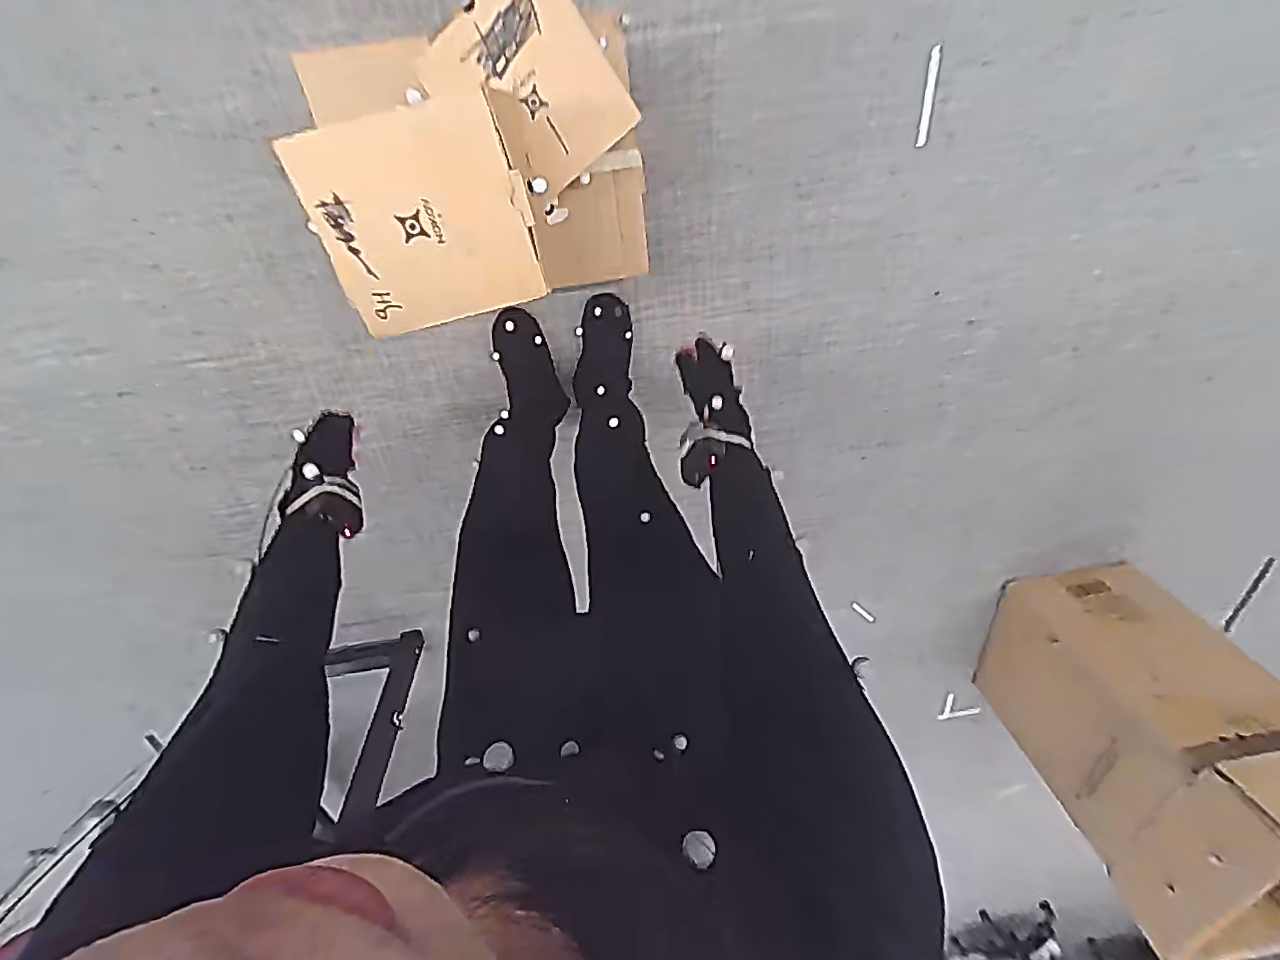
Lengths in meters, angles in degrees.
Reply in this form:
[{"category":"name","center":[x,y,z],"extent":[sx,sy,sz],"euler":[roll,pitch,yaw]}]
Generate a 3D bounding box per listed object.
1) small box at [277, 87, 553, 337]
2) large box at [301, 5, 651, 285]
[{"category":"small box","center":[-0.190,-0.261,0.523],"extent":[0.179,0.176,0.168],"euler":[-13,123,2]},{"category":"large box","center":[-0.214,-0.492,0.858],"extent":[0.408,0.320,0.320],"euler":[-10,124,-1]}]
